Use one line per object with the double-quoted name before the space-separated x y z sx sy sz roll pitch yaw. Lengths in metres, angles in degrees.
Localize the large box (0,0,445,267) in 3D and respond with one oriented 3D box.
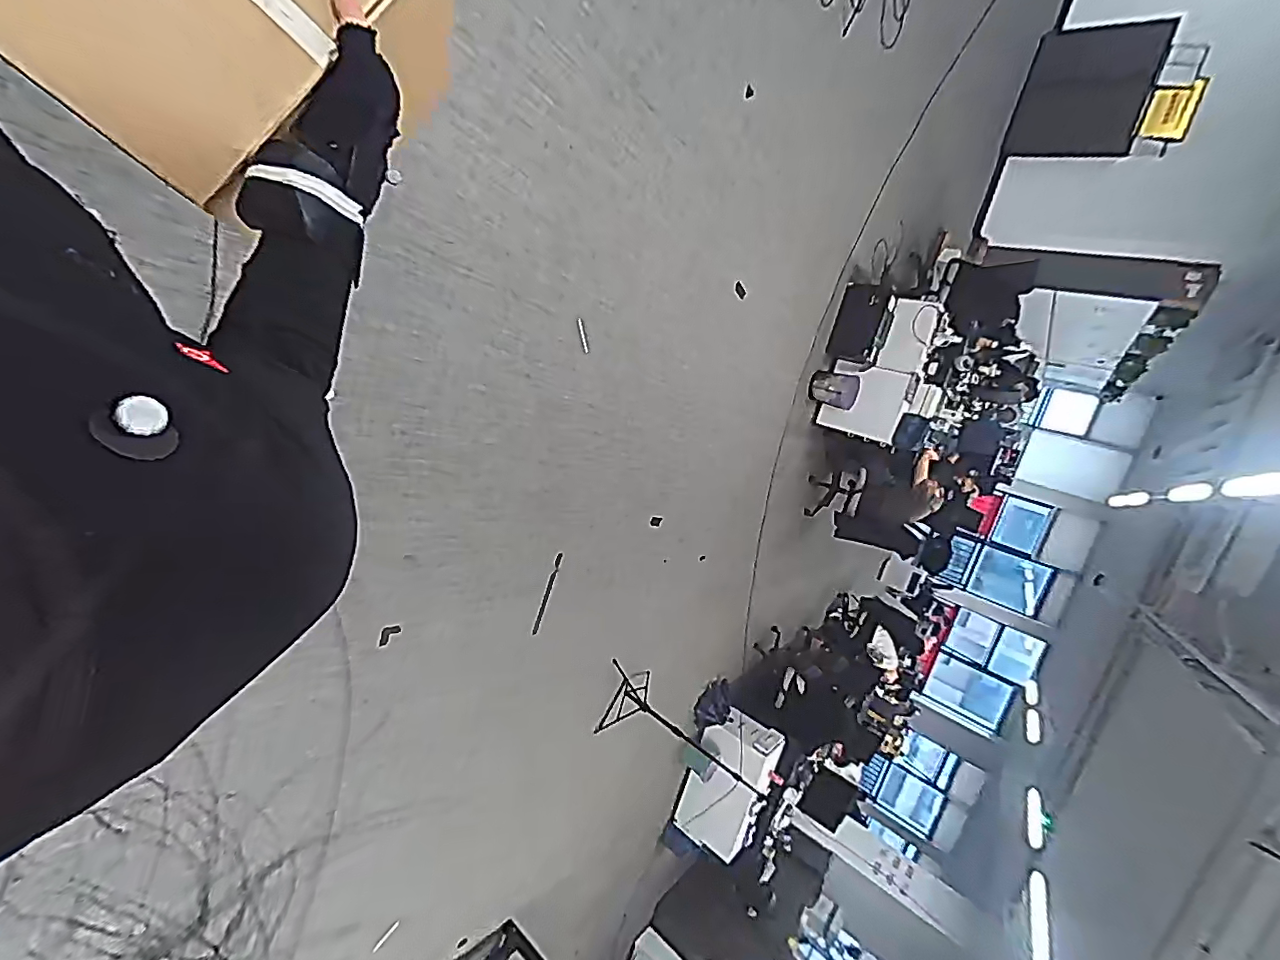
"large box" -0.447 -0.475 0.503 0.408 0.320 0.320 39 87 -24
